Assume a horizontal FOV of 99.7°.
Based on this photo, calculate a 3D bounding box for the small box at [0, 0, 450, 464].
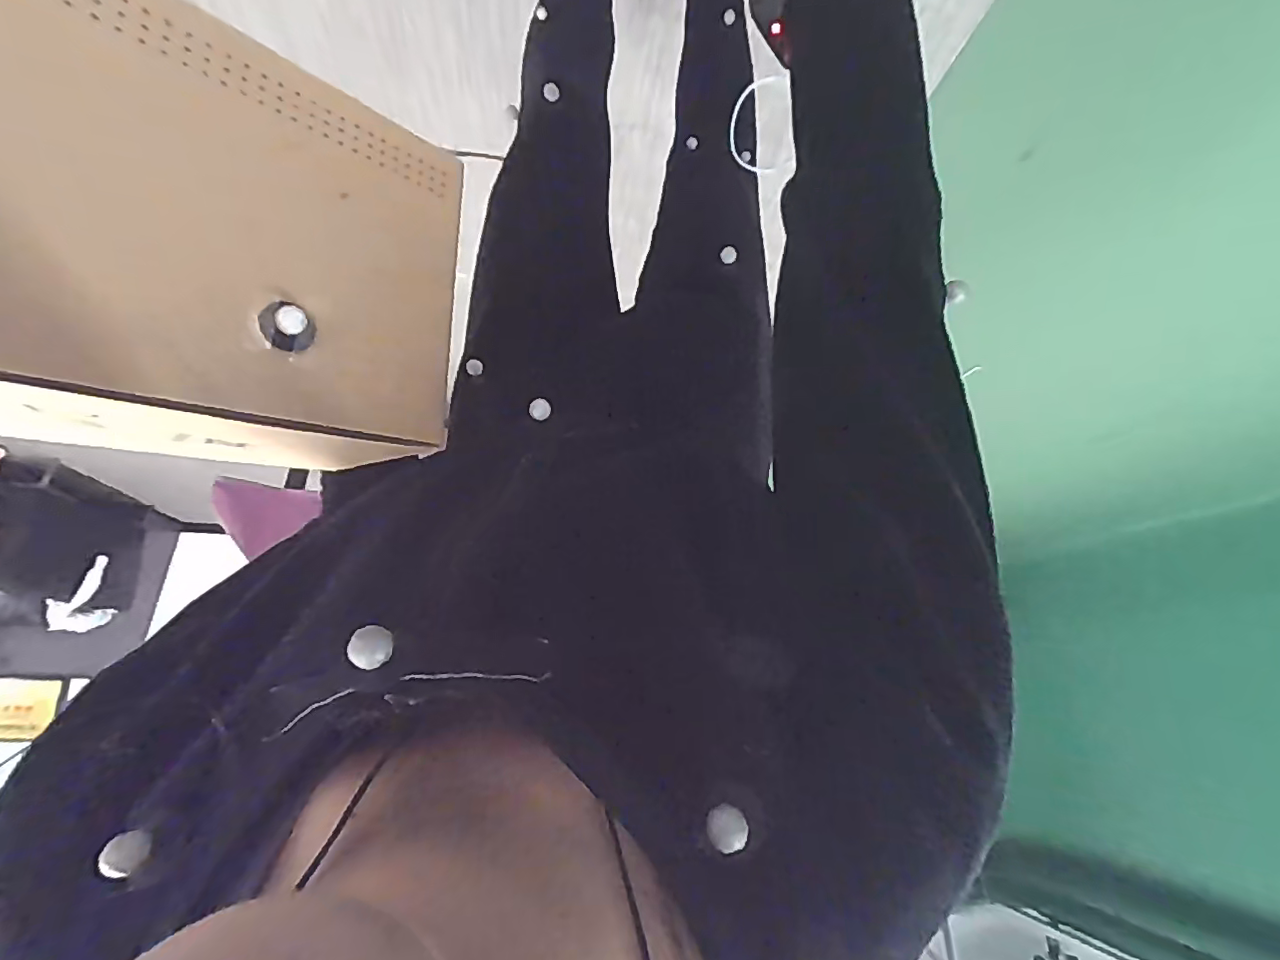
[{"bbox_3d":[-0.217,-0.107,0.278,0.168,0.176,0.179,-5,170,41],"label":"small box"}]
